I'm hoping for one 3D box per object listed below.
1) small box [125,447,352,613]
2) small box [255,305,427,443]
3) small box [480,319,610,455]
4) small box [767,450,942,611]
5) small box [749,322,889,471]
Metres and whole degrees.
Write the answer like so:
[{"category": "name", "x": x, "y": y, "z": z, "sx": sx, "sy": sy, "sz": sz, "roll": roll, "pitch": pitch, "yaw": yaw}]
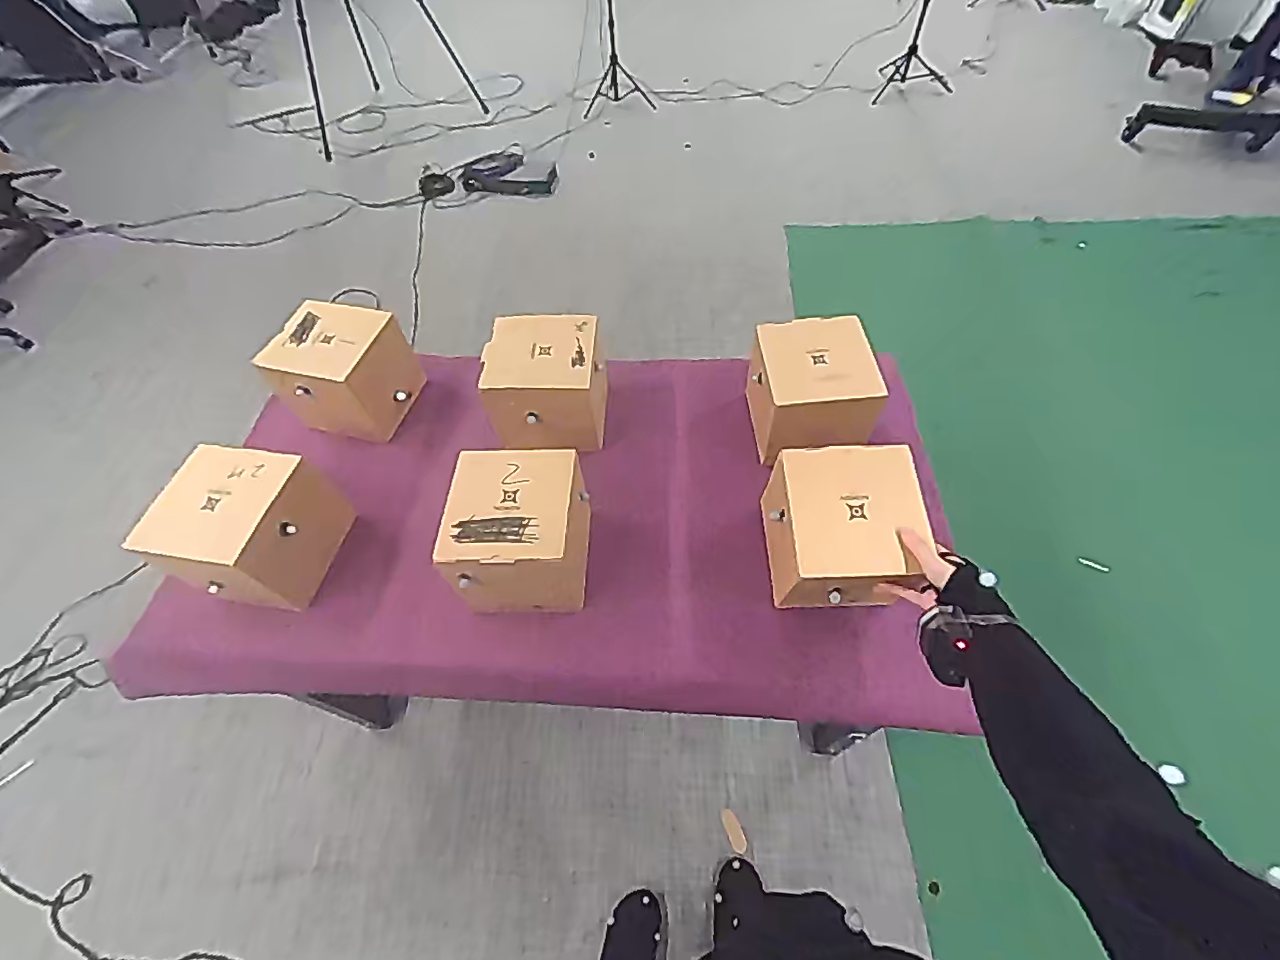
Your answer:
[{"category": "small box", "x": -0.562, "y": 0.077, "z": 0.791, "sx": 0.168, "sy": 0.176, "sz": 0.179, "roll": 7, "pitch": 56, "yaw": 7}, {"category": "small box", "x": -0.519, "y": -0.185, "z": 0.968, "sx": 0.179, "sy": 0.176, "sz": 0.168, "roll": 12, "pitch": 58, "yaw": 9}, {"category": "small box", "x": -0.152, "y": -0.154, "z": 0.930, "sx": 0.179, "sy": 0.176, "sz": 0.168, "roll": 0, "pitch": 57, "yaw": 4}, {"category": "small box", "x": 0.273, "y": 0.077, "z": 0.733, "sx": 0.168, "sy": 0.176, "sz": 0.179, "roll": -2, "pitch": 63, "yaw": 3}, {"category": "small box", "x": 0.279, "y": -0.134, "z": 0.892, "sx": 0.168, "sy": 0.176, "sz": 0.179, "roll": -4, "pitch": 57, "yaw": 2}]
